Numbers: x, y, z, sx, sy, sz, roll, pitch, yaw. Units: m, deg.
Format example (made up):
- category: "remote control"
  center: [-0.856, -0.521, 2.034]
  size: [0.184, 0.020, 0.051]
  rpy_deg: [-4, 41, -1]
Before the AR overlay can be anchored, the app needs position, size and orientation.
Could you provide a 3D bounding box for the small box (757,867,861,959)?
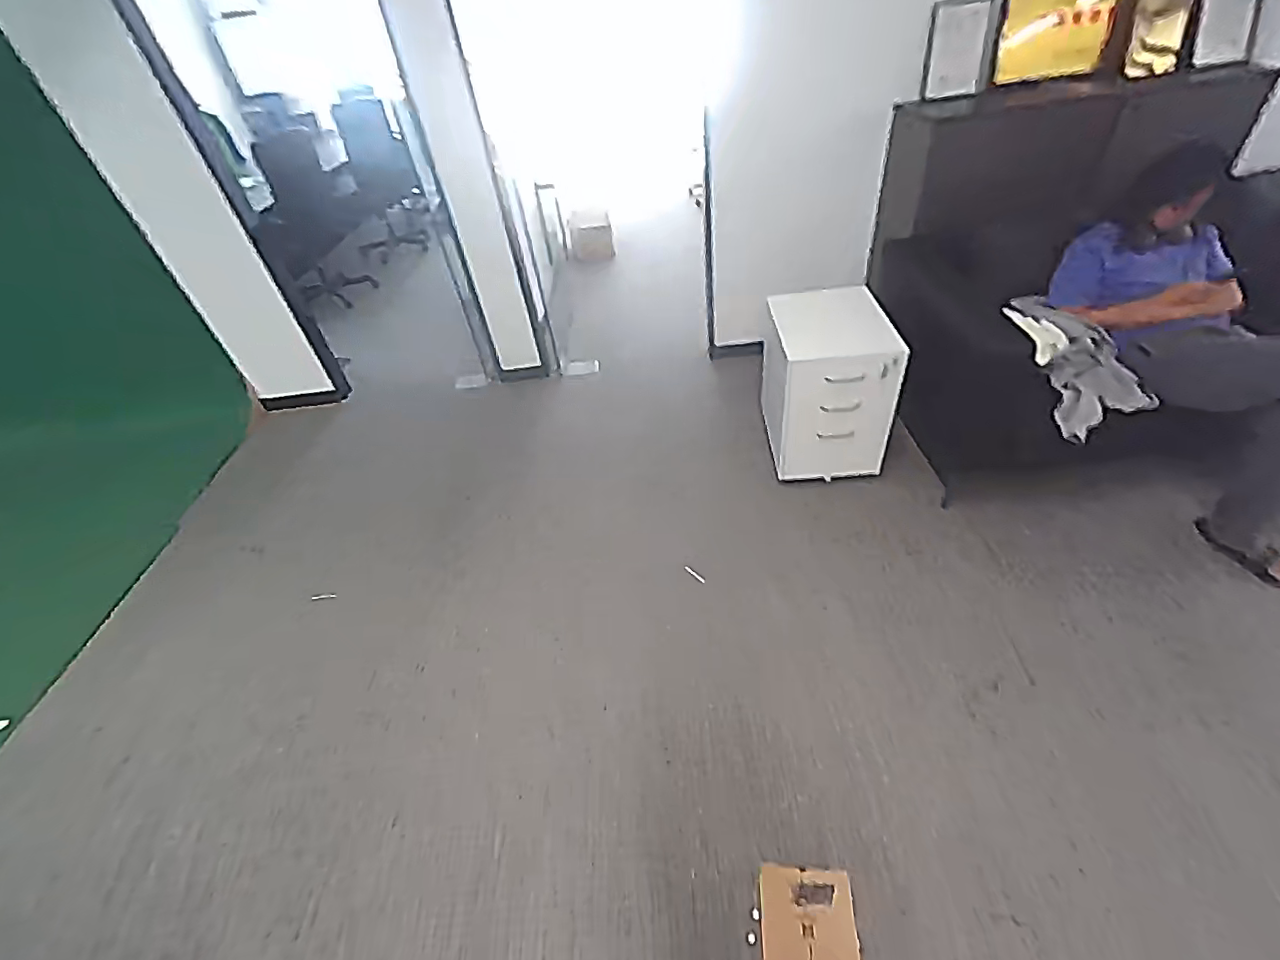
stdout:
- category: "small box"
  center: [0.307, 0.854, 1.005]
  size: [0.168, 0.176, 0.179]
  rpy_deg: [0, 42, 9]
